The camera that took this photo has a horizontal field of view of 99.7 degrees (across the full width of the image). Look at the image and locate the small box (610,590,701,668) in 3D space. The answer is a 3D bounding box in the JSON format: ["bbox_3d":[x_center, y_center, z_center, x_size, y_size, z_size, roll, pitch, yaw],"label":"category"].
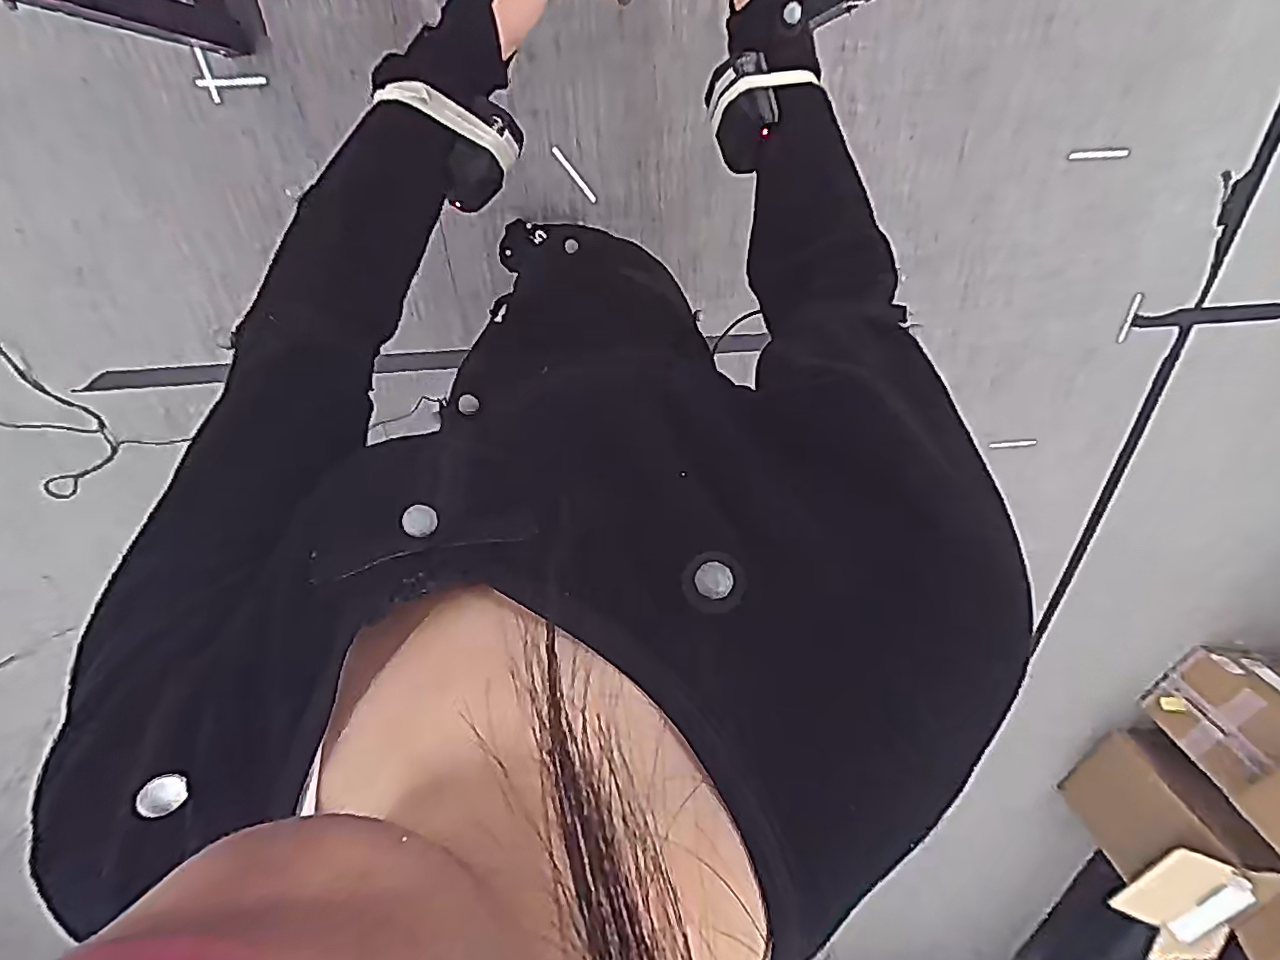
[{"bbox_3d":[0.026,0.347,1.092,0.168,0.176,0.179,-4,123,-4],"label":"small box"}]

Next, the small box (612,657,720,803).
[{"bbox_3d":[0.040,0.430,0.952,0.168,0.176,0.179,-5,122,-3],"label":"small box"}]
